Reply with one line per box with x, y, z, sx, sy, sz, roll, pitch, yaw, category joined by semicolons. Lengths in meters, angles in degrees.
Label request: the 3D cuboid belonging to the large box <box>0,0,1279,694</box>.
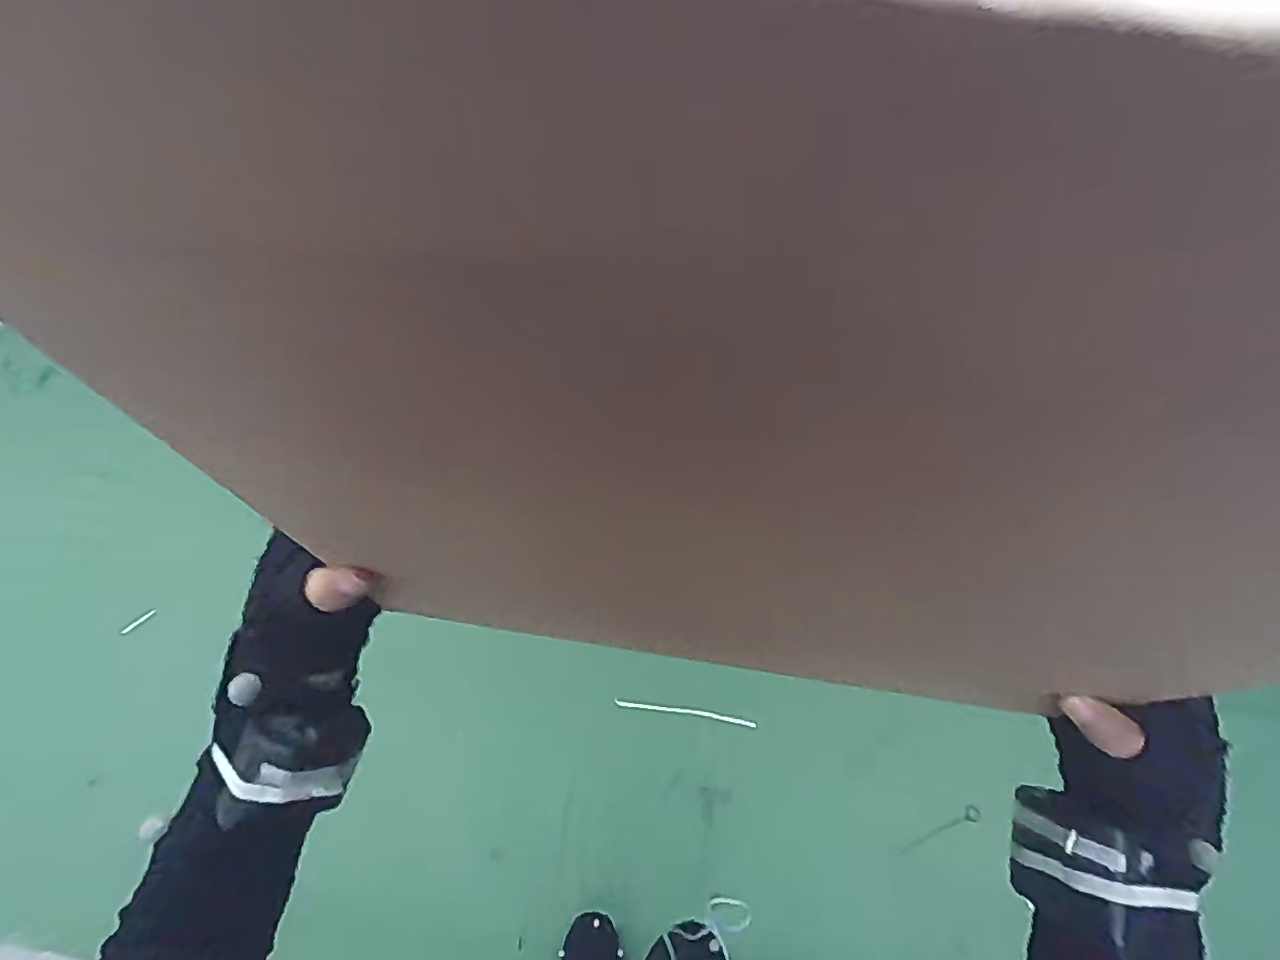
0.091;-0.097;0.269;0.408;0.320;0.320;9;62;-2;large box
